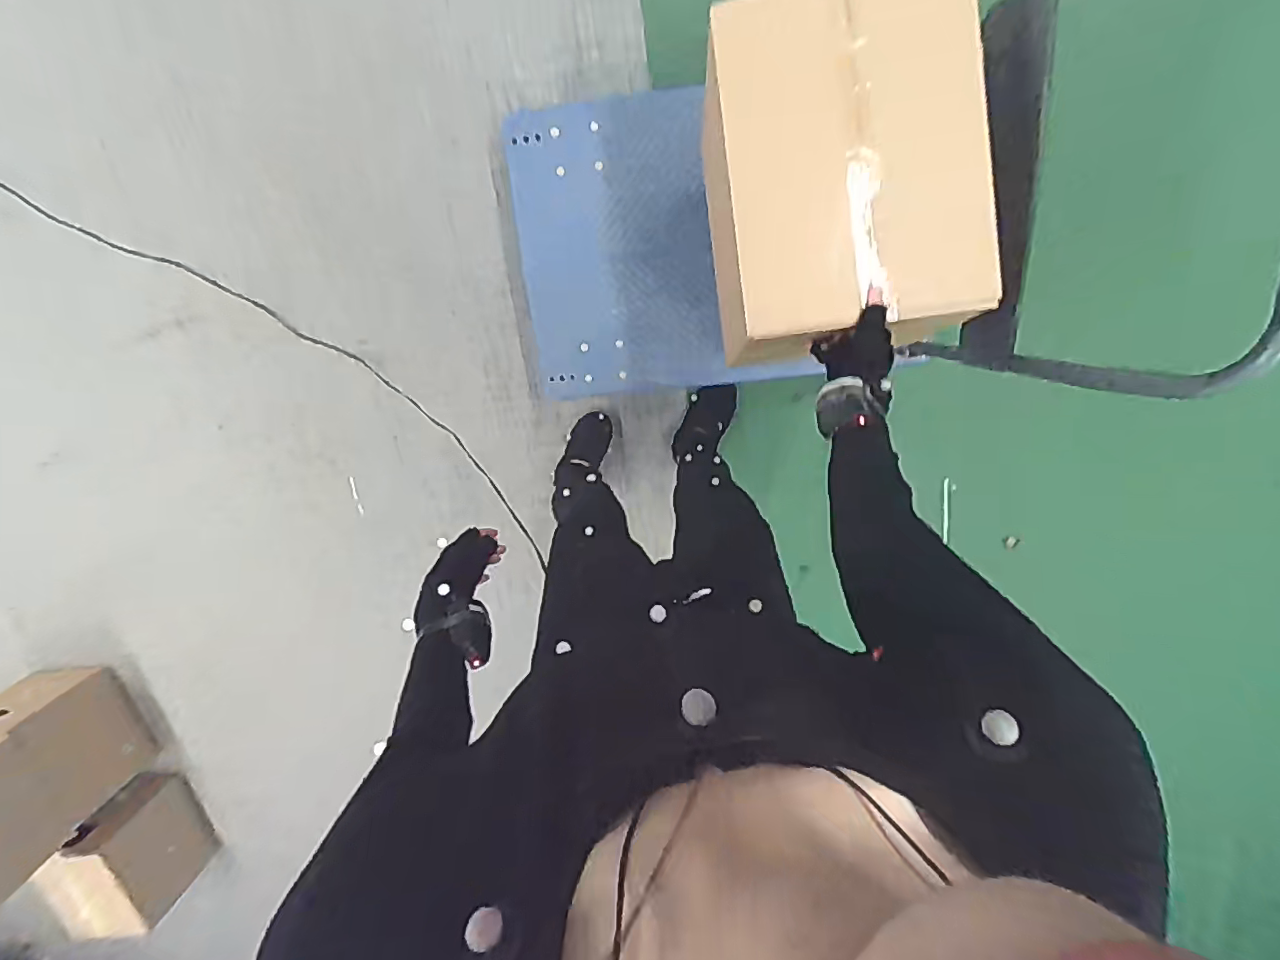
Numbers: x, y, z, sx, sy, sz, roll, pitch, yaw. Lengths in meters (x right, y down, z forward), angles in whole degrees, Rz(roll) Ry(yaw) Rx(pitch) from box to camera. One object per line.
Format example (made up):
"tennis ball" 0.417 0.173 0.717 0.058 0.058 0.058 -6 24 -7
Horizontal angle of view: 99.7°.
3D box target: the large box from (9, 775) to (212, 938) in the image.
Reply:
"large box" -1.869 1.342 1.945 0.320 0.320 0.408 -6 110 7
